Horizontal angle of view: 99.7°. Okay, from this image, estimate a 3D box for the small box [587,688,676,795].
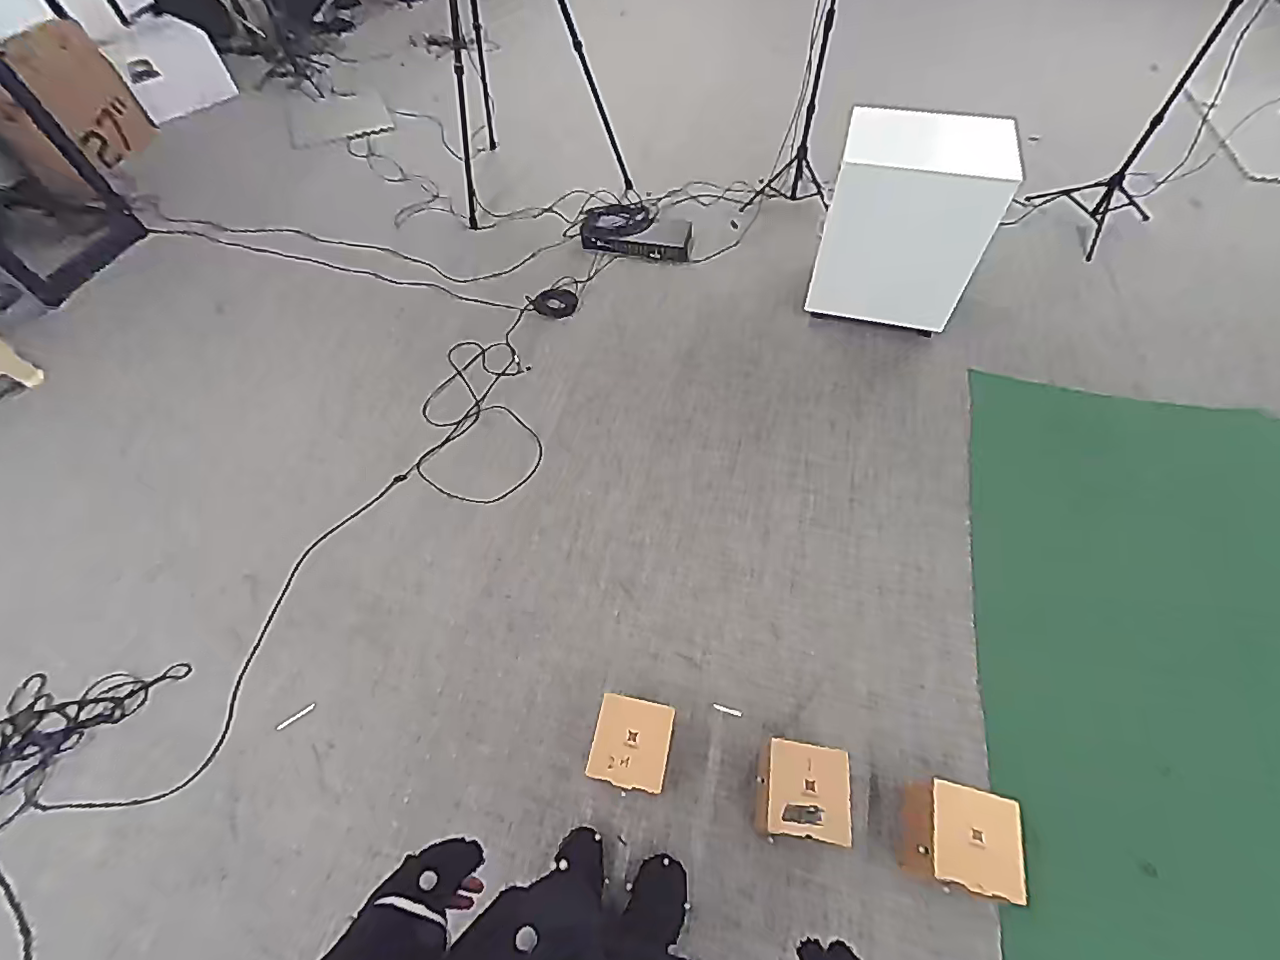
[{"bbox_3d":[-0.014,0.604,1.243,0.168,0.176,0.179,9,58,9],"label":"small box"}]

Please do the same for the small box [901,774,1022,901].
[{"bbox_3d":[0.662,0.744,1.134,0.168,0.176,0.179,12,58,10],"label":"small box"}]

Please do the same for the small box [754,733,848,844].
[{"bbox_3d":[0.349,0.678,1.185,0.168,0.176,0.179,8,56,7],"label":"small box"}]
